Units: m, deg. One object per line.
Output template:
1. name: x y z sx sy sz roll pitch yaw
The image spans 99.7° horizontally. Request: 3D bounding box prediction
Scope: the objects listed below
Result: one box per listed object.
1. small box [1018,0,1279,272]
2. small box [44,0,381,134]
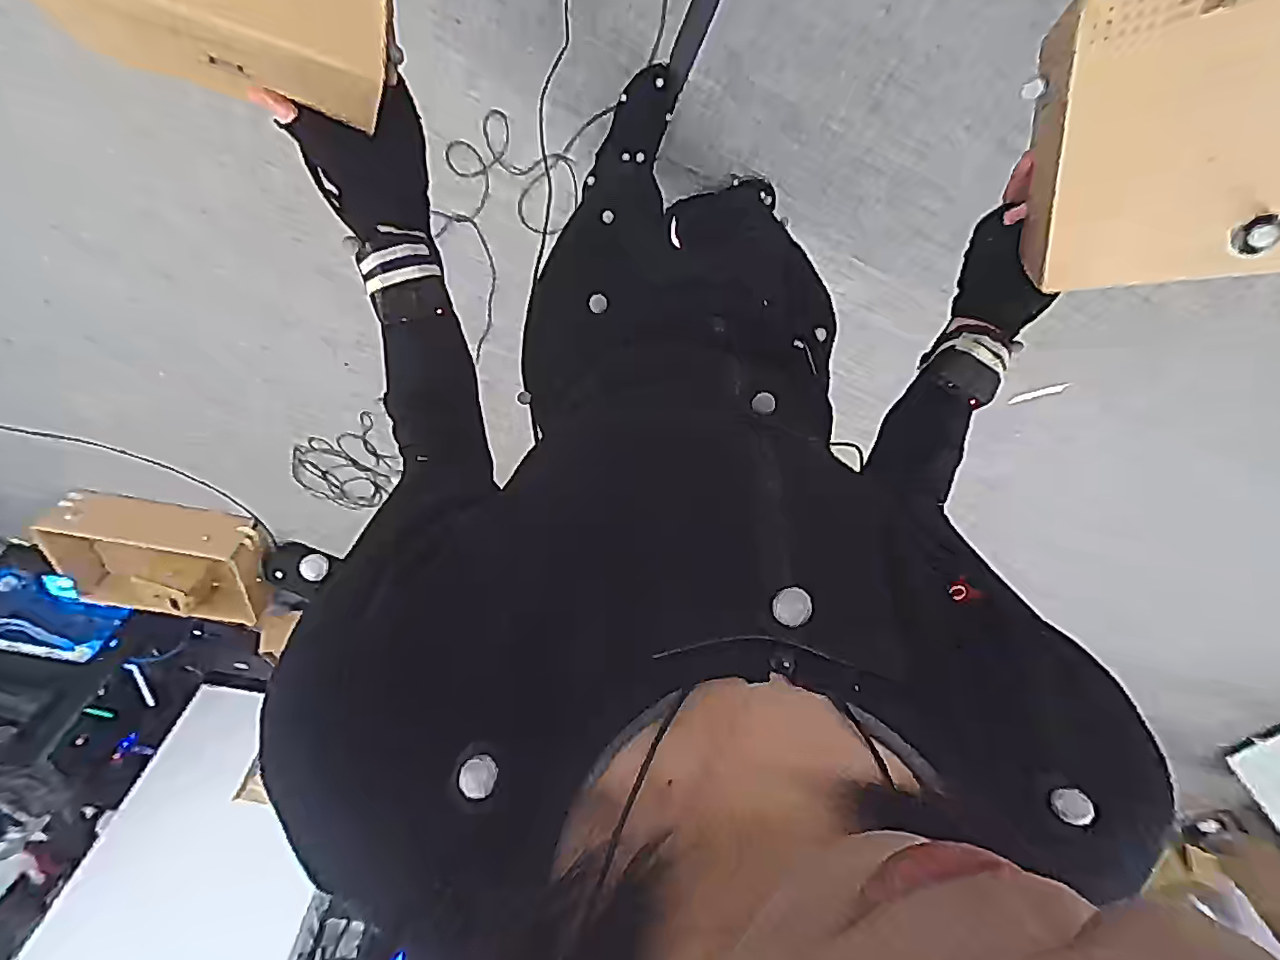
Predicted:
1. small box: 0.366 -0.247 0.359 0.168 0.179 0.176 3 117 30
2. small box: -0.240 -0.339 0.312 0.168 0.179 0.176 2 106 -27
